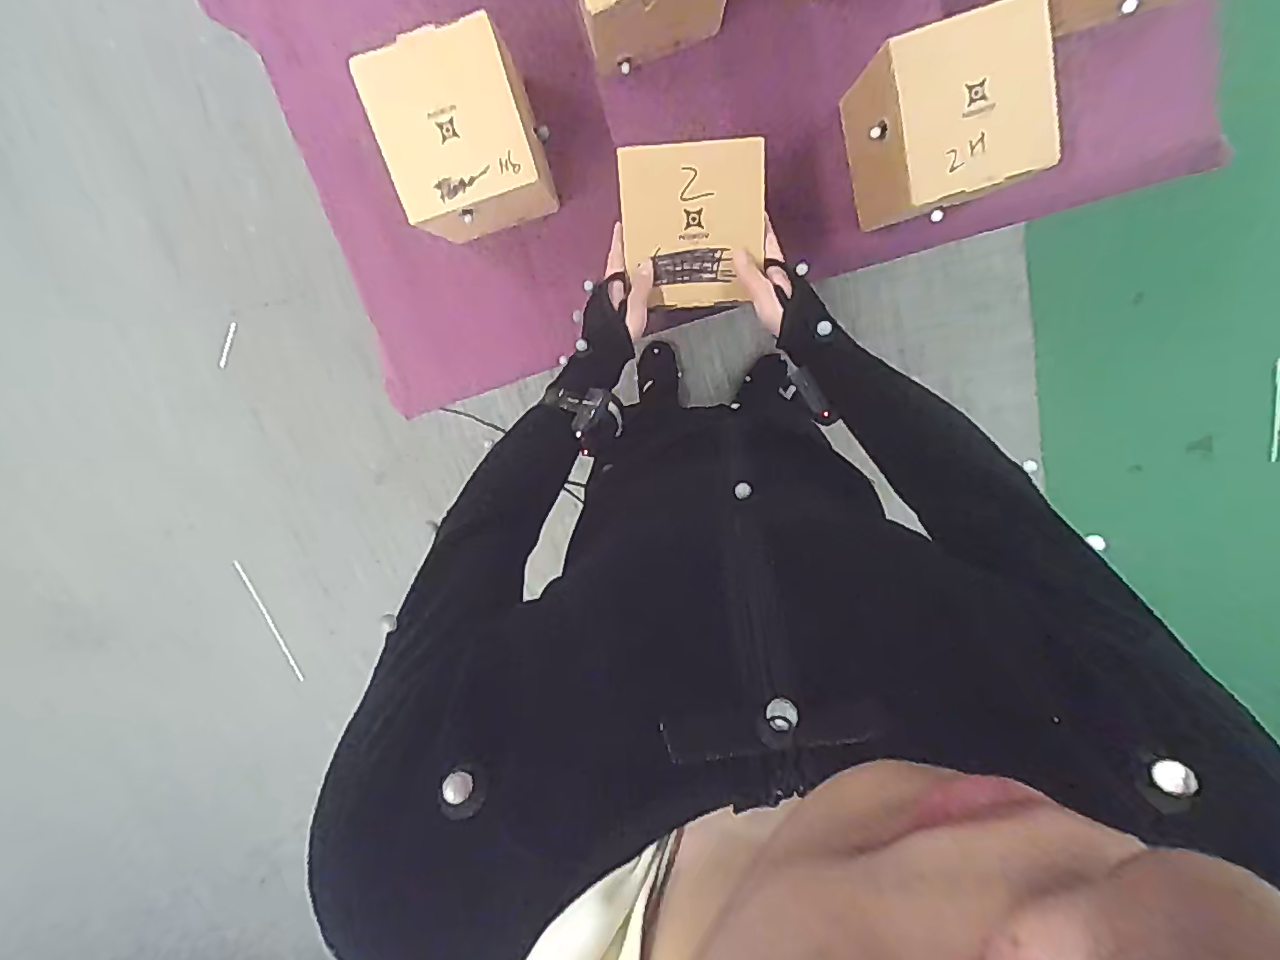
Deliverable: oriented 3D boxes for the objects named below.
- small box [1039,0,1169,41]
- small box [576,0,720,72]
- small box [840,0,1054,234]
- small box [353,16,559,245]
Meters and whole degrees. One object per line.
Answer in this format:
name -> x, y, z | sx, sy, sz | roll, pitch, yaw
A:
small box -> 0.577, -0.654, 0.609 | 0.168, 0.176, 0.179 | -14, 106, 5
small box -> -0.003, -0.619, 0.629 | 0.168, 0.176, 0.179 | -17, 104, 6
small box -> 0.366, -0.432, 0.672 | 0.168, 0.176, 0.179 | -15, 104, 6
small box -> -0.216, -0.422, 0.687 | 0.168, 0.176, 0.179 | -15, 104, 6
